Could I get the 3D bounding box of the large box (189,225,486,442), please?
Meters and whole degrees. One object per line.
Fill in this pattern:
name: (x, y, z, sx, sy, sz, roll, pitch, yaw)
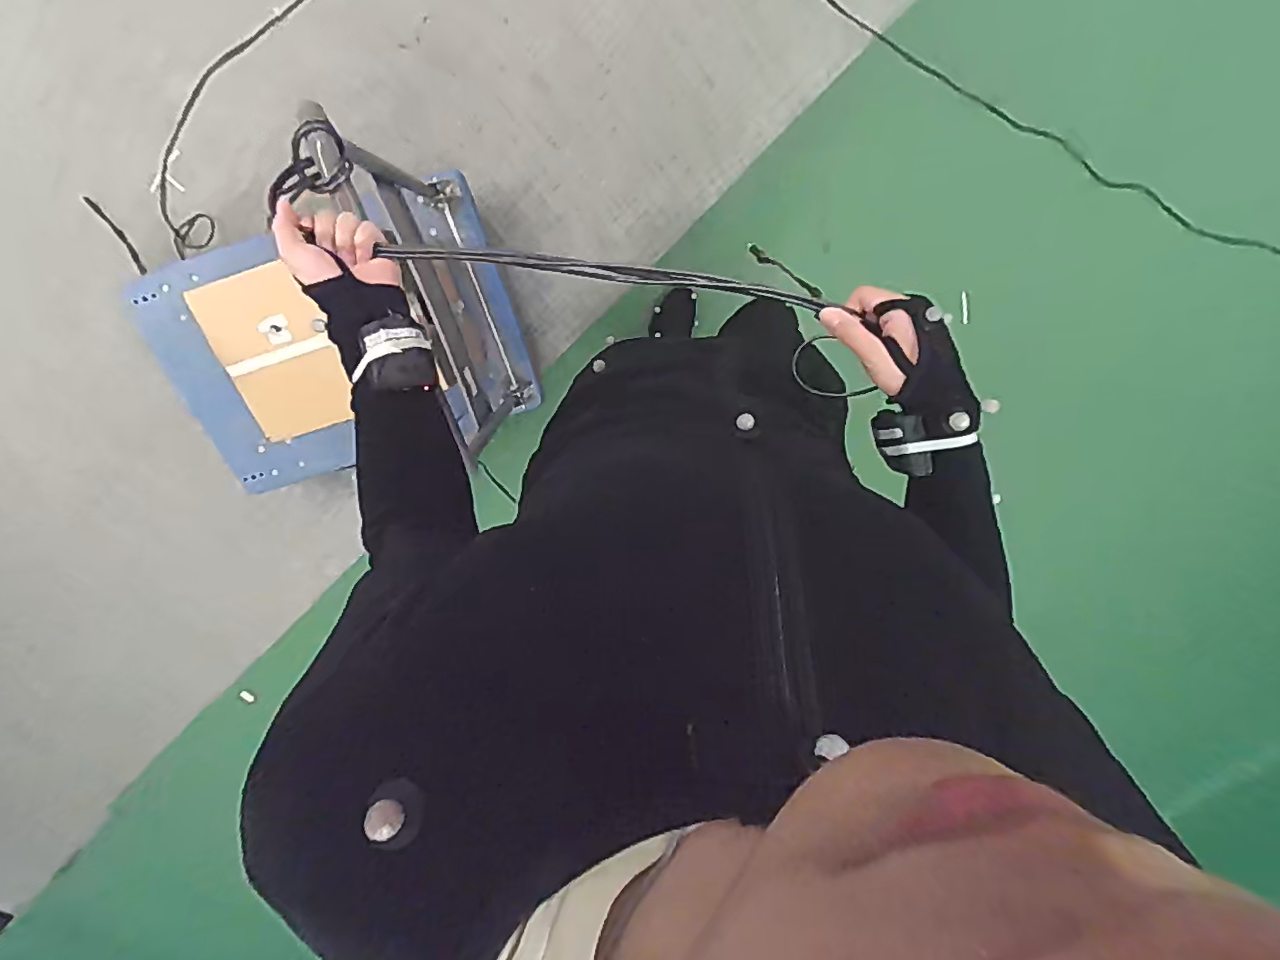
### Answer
large box: (-0.611, -0.324, 1.177, 0.408, 0.320, 0.320, -16, 111, 6)
